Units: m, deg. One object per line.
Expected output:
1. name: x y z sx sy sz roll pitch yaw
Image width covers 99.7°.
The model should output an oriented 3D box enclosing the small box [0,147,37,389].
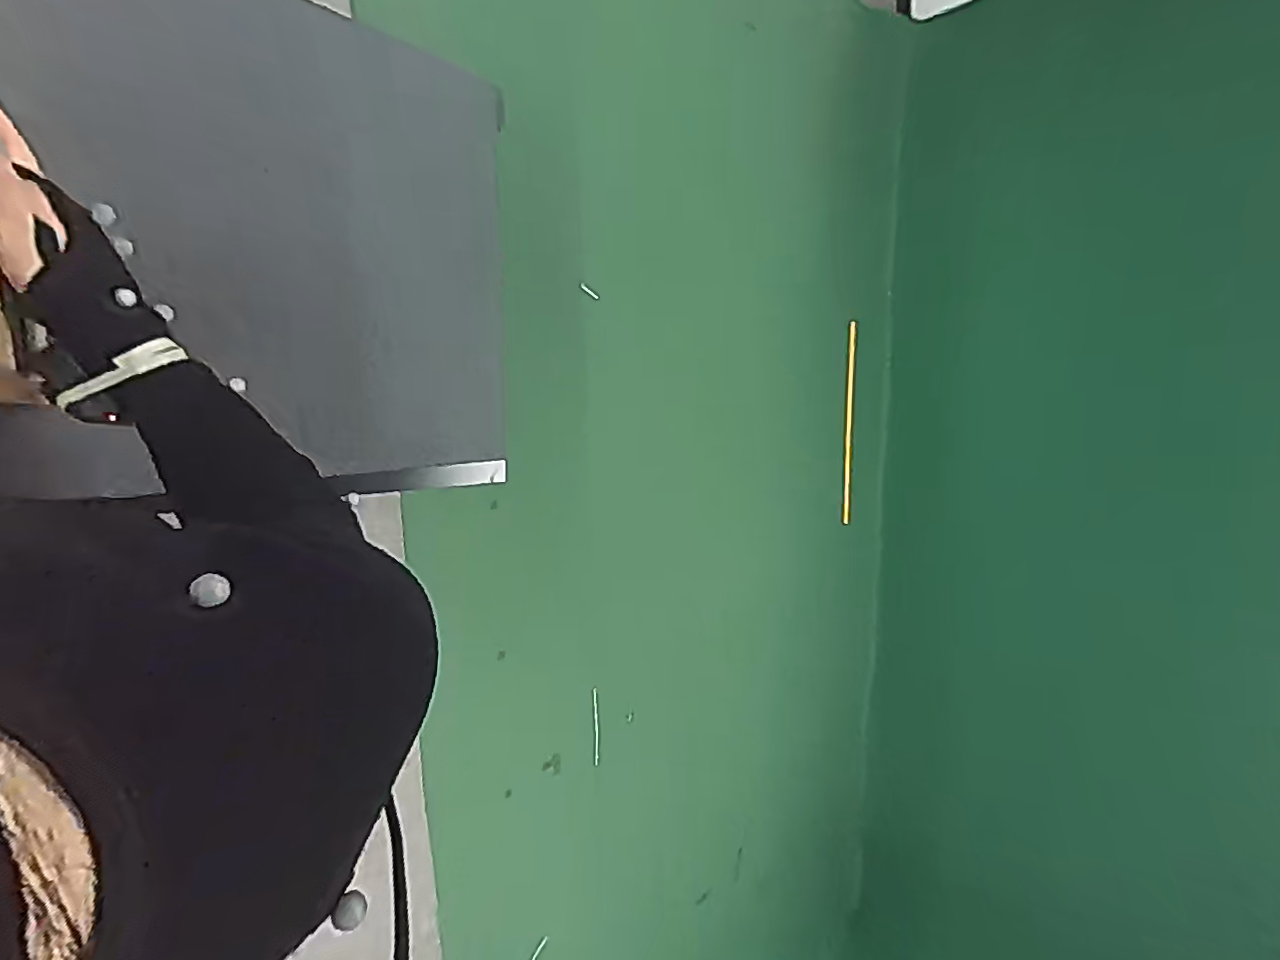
1. small box: -0.580 -0.162 0.401 0.168 0.176 0.179 -4 99 -45
